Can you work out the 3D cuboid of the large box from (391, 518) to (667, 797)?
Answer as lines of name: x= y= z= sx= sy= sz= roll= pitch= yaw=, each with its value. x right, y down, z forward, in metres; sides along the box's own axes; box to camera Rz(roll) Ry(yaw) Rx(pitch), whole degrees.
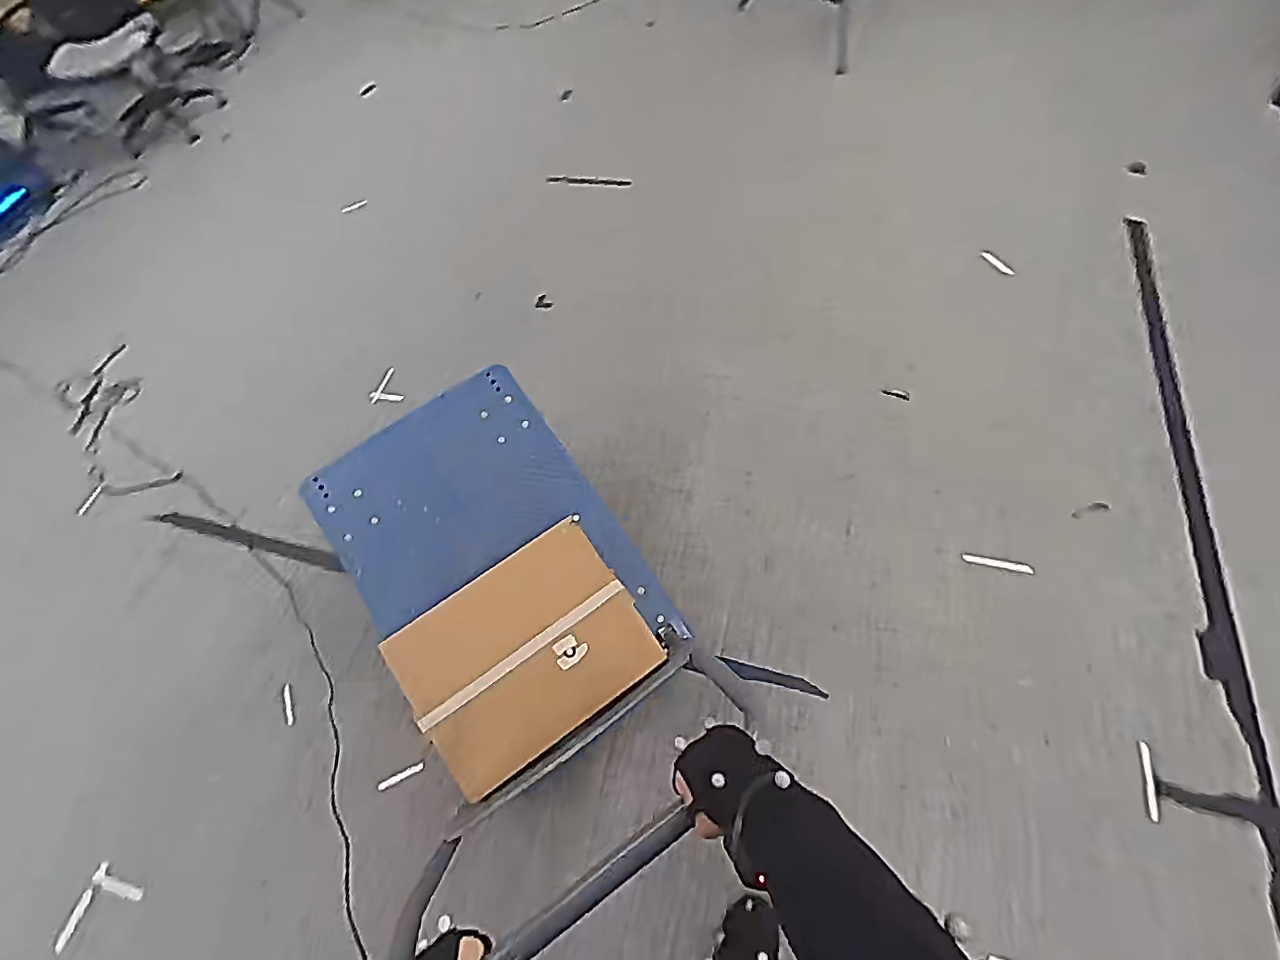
large box: x=-0.205 y=0.340 z=1.109 sx=0.408 sy=0.320 sz=0.320 roll=-35 pitch=81 yaw=-11
